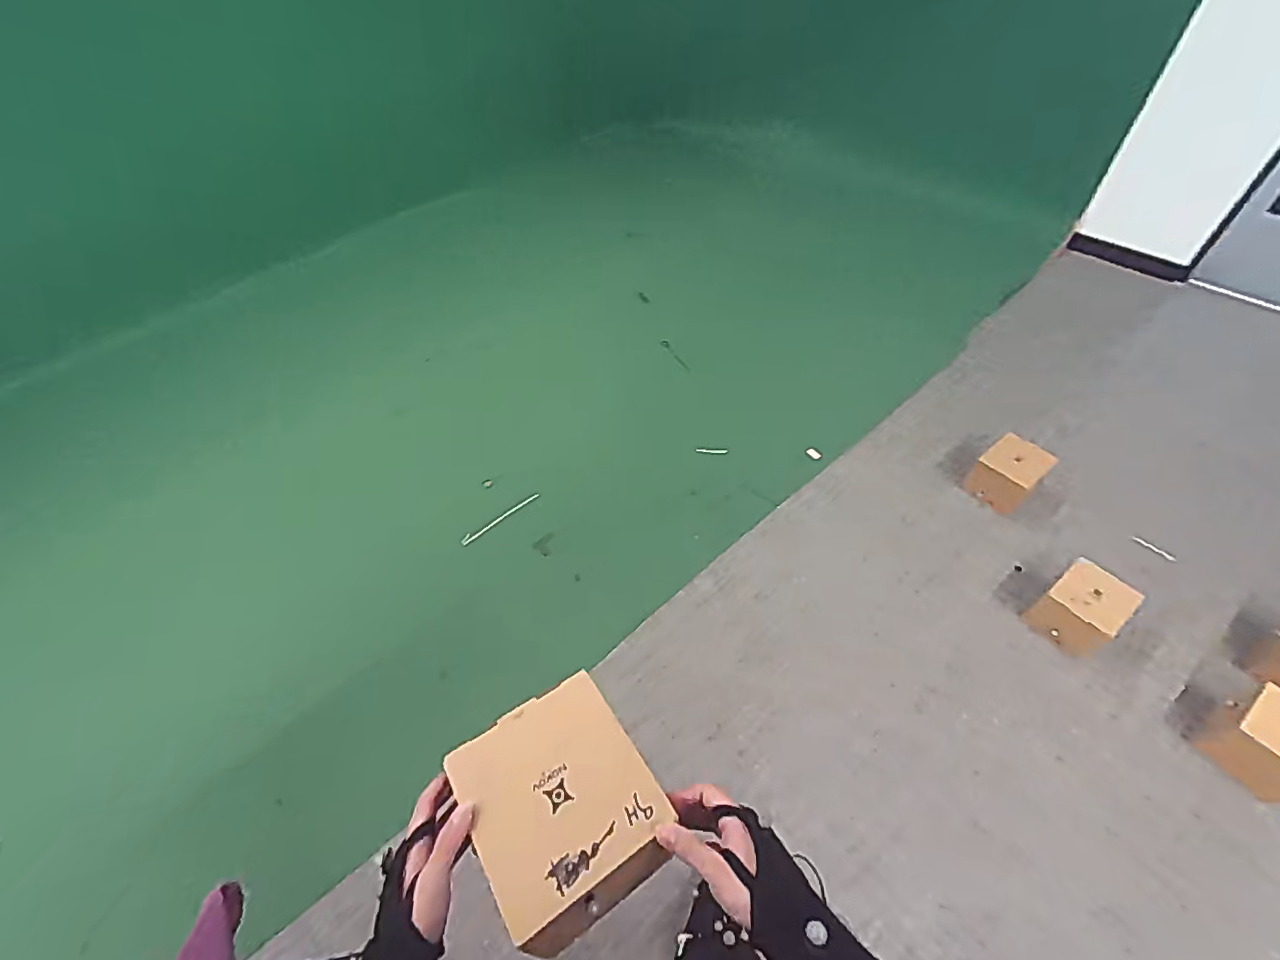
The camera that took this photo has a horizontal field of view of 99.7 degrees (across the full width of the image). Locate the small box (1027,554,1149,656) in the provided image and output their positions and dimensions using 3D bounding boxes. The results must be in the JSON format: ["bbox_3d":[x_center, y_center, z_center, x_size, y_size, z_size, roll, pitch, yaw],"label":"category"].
[{"bbox_3d":[1.206,0.341,1.470,0.179,0.176,0.168,-35,56,-18],"label":"small box"}]

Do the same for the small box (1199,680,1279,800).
[{"bbox_3d":[1.468,0.603,1.242,0.168,0.176,0.179,-34,57,-18],"label":"small box"}]

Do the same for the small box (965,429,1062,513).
[{"bbox_3d":[1.199,-0.027,1.752,0.179,0.176,0.168,-34,56,-17],"label":"small box"}]
